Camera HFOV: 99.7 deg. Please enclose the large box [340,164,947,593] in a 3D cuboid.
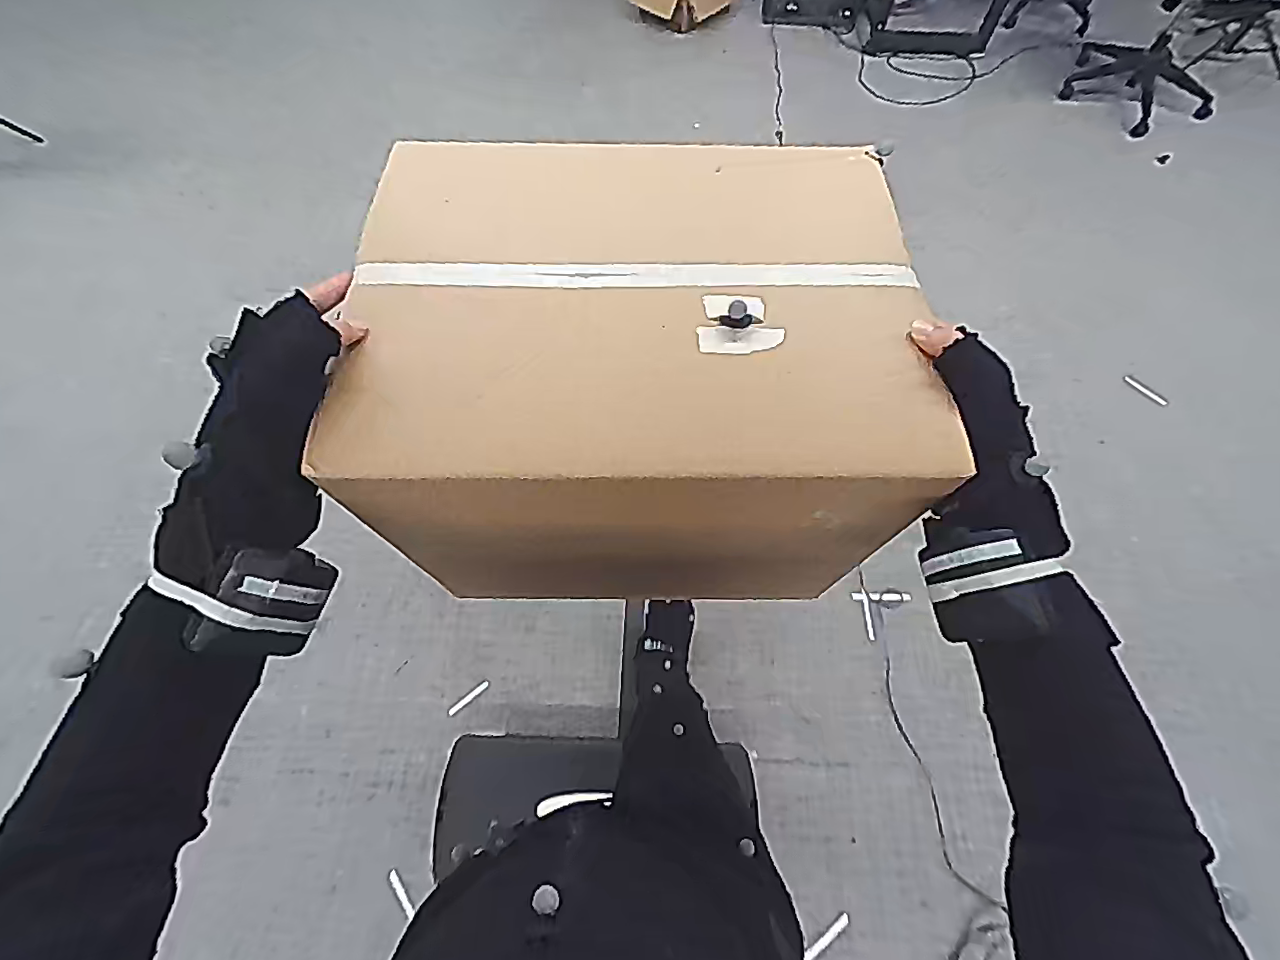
[{"bbox_3d":[-0.002,-0.078,0.547,0.408,0.320,0.320,0,64,-1],"label":"large box"}]
